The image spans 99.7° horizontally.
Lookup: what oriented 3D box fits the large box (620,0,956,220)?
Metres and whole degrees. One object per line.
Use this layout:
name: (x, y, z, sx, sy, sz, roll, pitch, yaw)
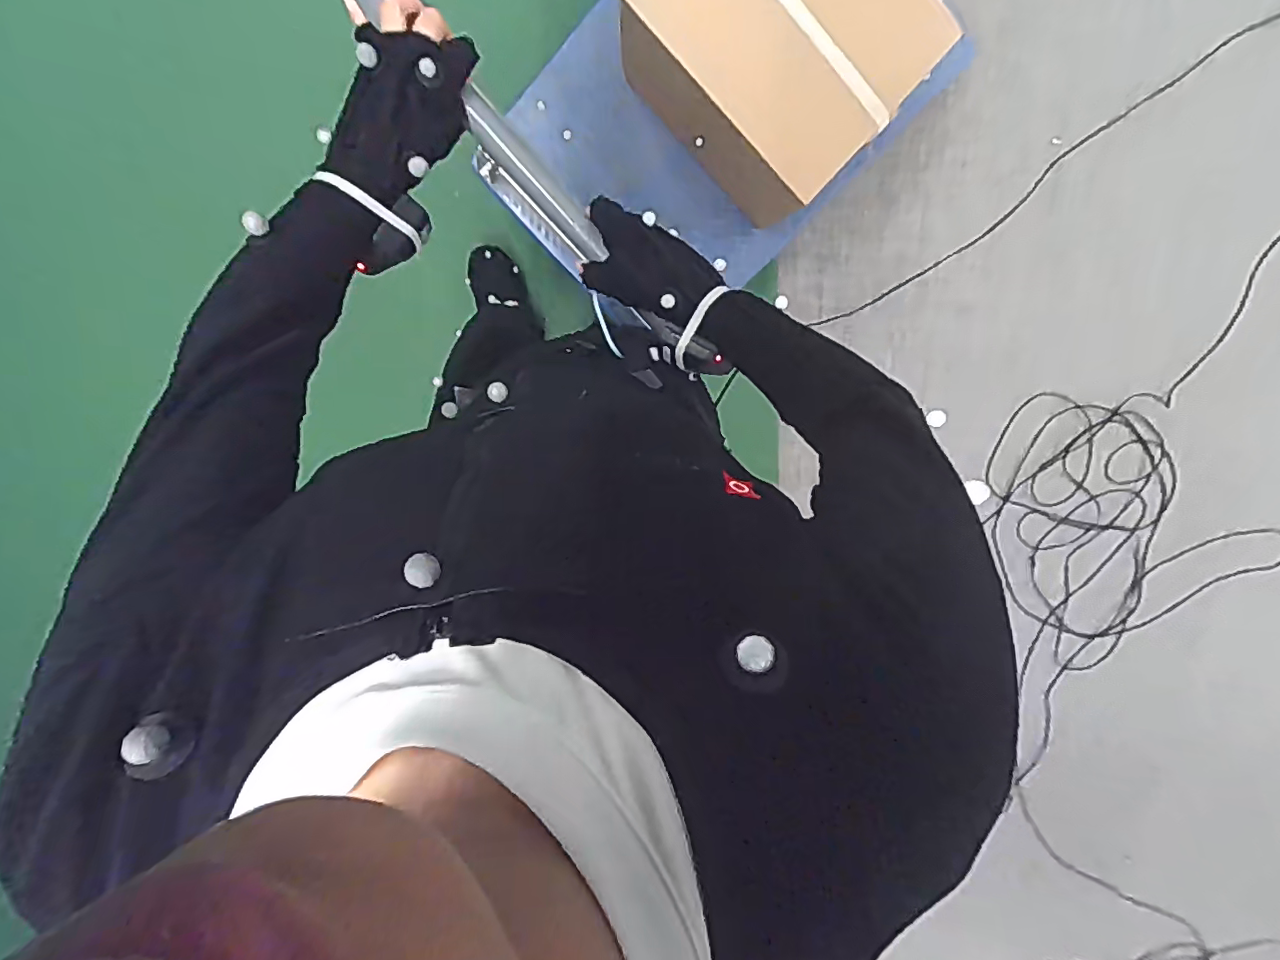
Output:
large box: (0.218, -0.724, 0.921, 0.408, 0.320, 0.320, 41, 103, -13)
